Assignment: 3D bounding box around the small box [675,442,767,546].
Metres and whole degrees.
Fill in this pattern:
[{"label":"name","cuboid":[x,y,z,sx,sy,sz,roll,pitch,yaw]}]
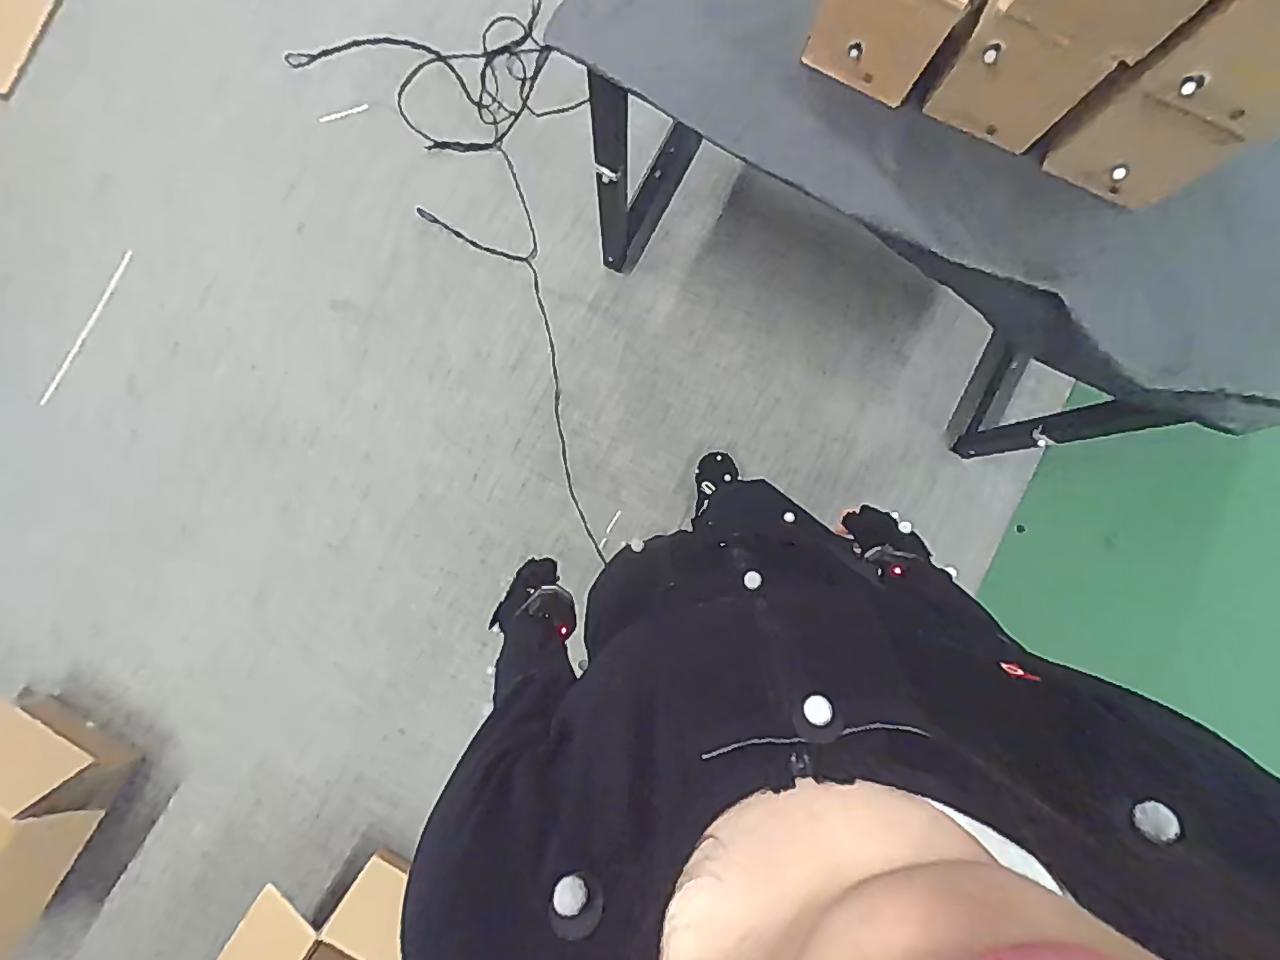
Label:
[{"label":"small box","cuboid":[0.203,0.037,1.422,0.179,0.176,0.168,-35,57,-25]}]
